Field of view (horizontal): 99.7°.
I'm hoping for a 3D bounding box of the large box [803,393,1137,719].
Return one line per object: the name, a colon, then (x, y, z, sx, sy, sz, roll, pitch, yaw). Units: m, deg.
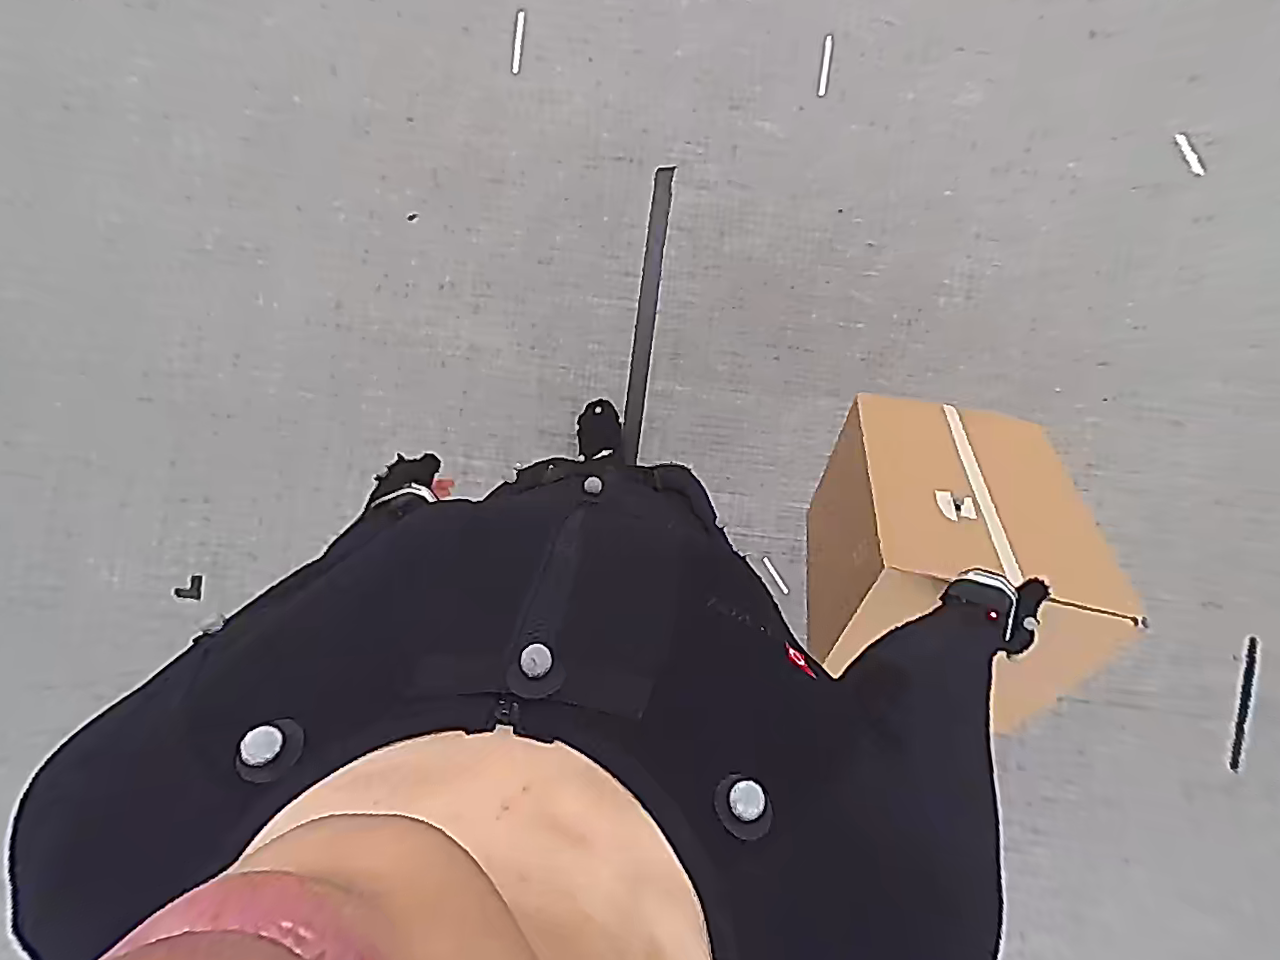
large box: (0.479, 0.114, 0.912, 0.320, 0.408, 0.320, 12, 134, 4)
